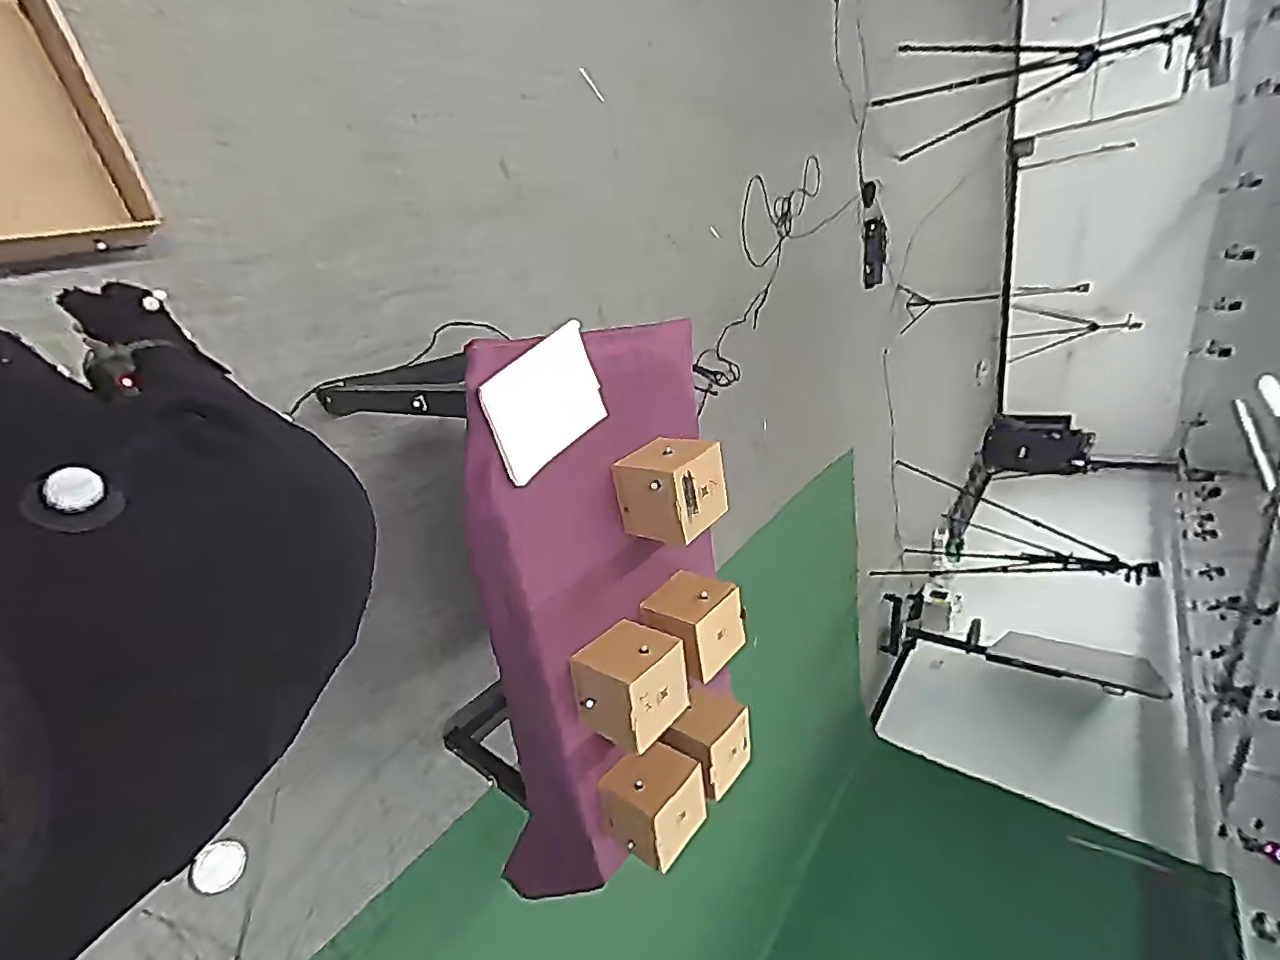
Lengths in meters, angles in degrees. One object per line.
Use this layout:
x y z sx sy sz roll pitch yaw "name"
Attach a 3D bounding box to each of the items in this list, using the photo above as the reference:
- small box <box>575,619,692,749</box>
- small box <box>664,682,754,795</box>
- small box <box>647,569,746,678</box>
-0.011 0.417 1.142 0.179 0.176 0.168 -24 114 -45 "small box"
0.175 0.659 1.400 0.179 0.176 0.168 -22 112 -45 "small box"
0.132 0.337 1.301 0.179 0.176 0.168 -31 119 -43 "small box"
